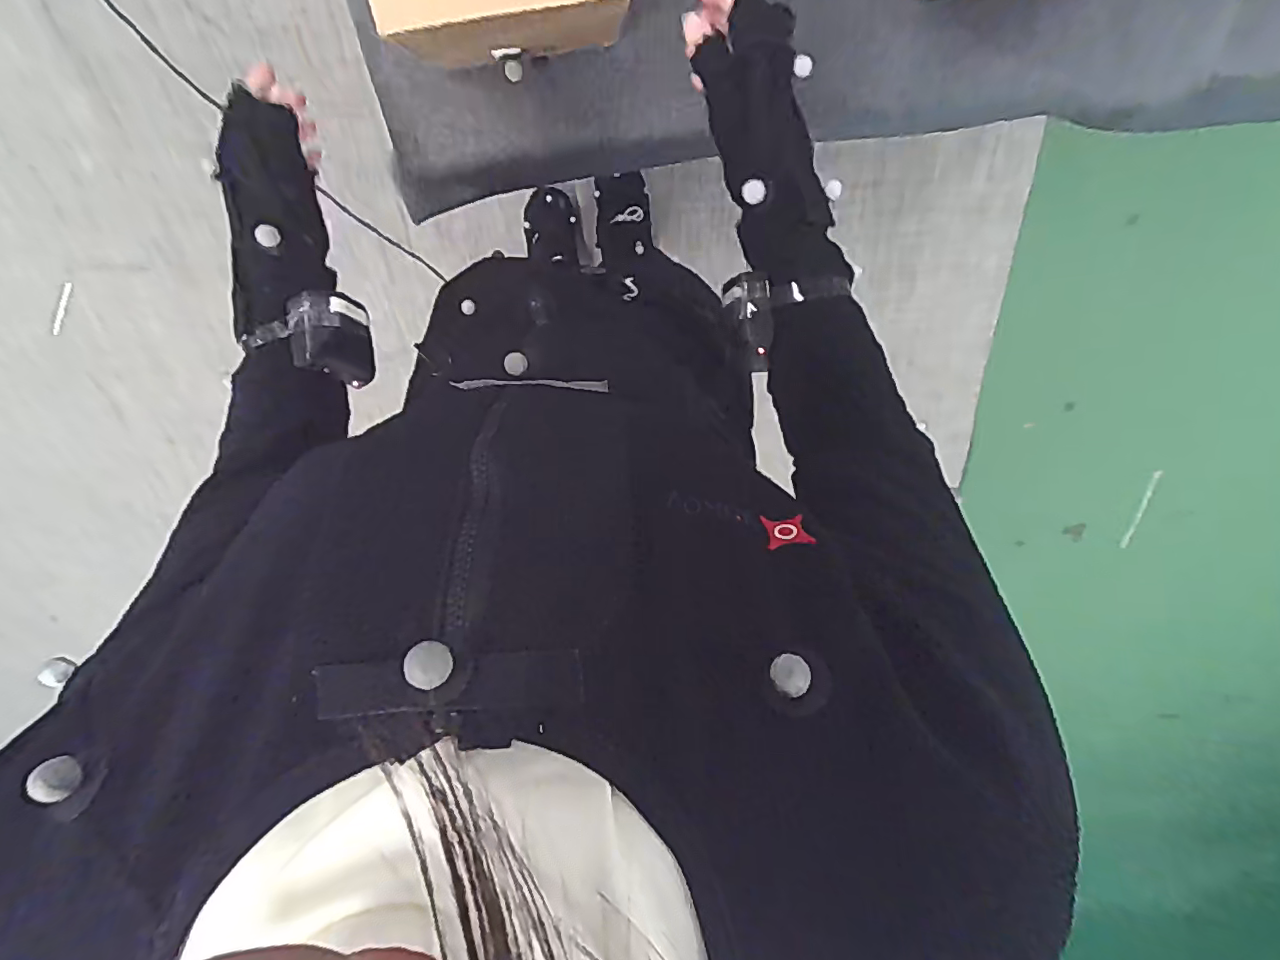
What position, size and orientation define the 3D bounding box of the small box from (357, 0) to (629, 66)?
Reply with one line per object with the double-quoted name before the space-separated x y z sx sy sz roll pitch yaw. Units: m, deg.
"small box" -0.099 -0.399 0.351 0.168 0.176 0.179 -6 120 0
